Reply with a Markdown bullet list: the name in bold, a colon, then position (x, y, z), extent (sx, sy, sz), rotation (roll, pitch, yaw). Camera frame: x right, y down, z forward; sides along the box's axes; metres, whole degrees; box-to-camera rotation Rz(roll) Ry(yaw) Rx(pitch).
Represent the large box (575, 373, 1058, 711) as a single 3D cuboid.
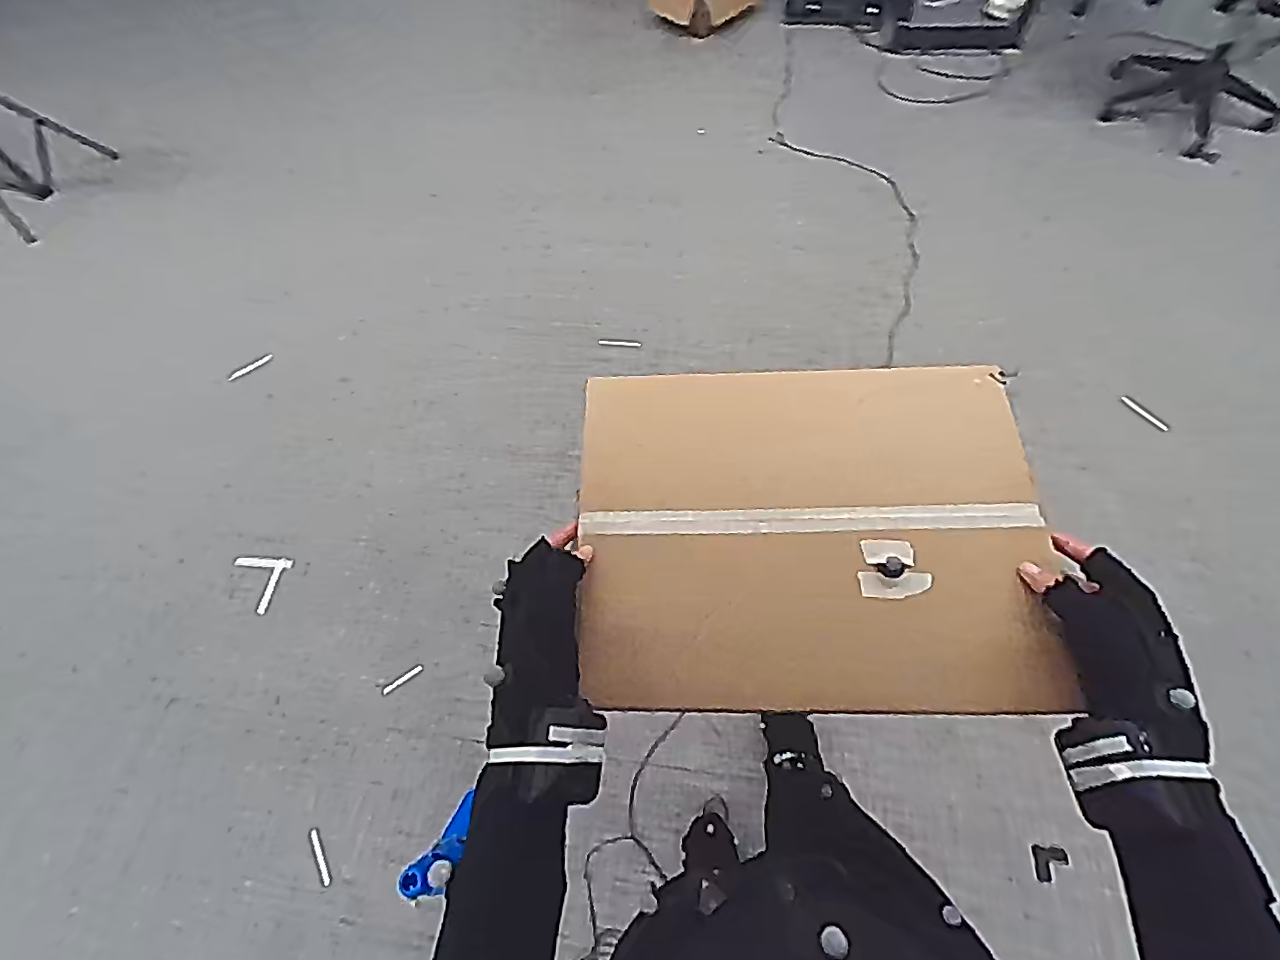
- **large box**: position (0.147, 0.099, 0.639), extent (0.408, 0.320, 0.320), rotation (-2, 68, 3)
